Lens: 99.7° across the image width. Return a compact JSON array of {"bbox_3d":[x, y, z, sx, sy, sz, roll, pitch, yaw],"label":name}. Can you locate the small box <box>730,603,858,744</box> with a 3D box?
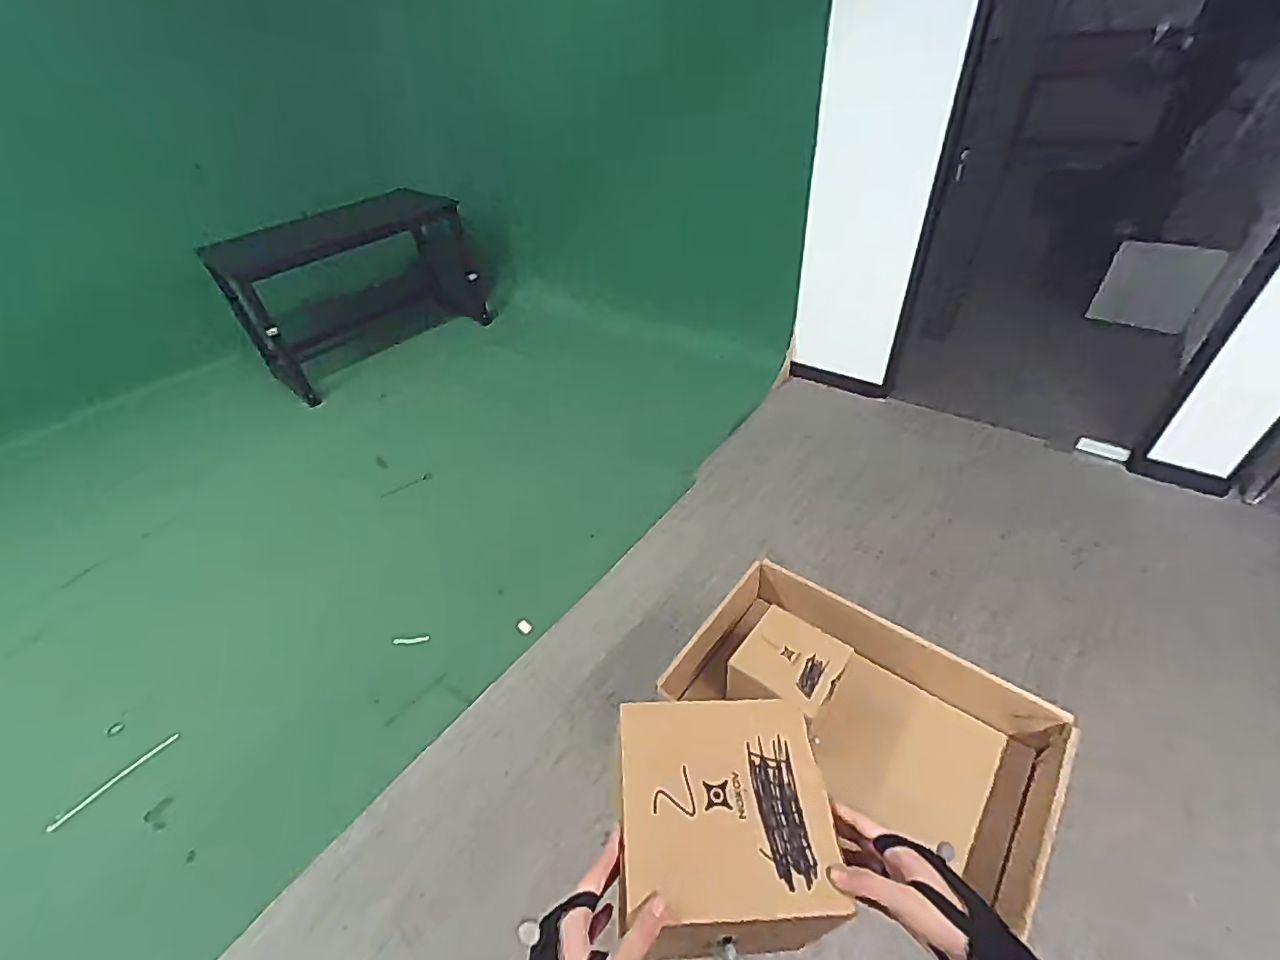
[{"bbox_3d":[0.293,0.381,1.053,0.179,0.176,0.168,27,52,32],"label":"small box"}]
